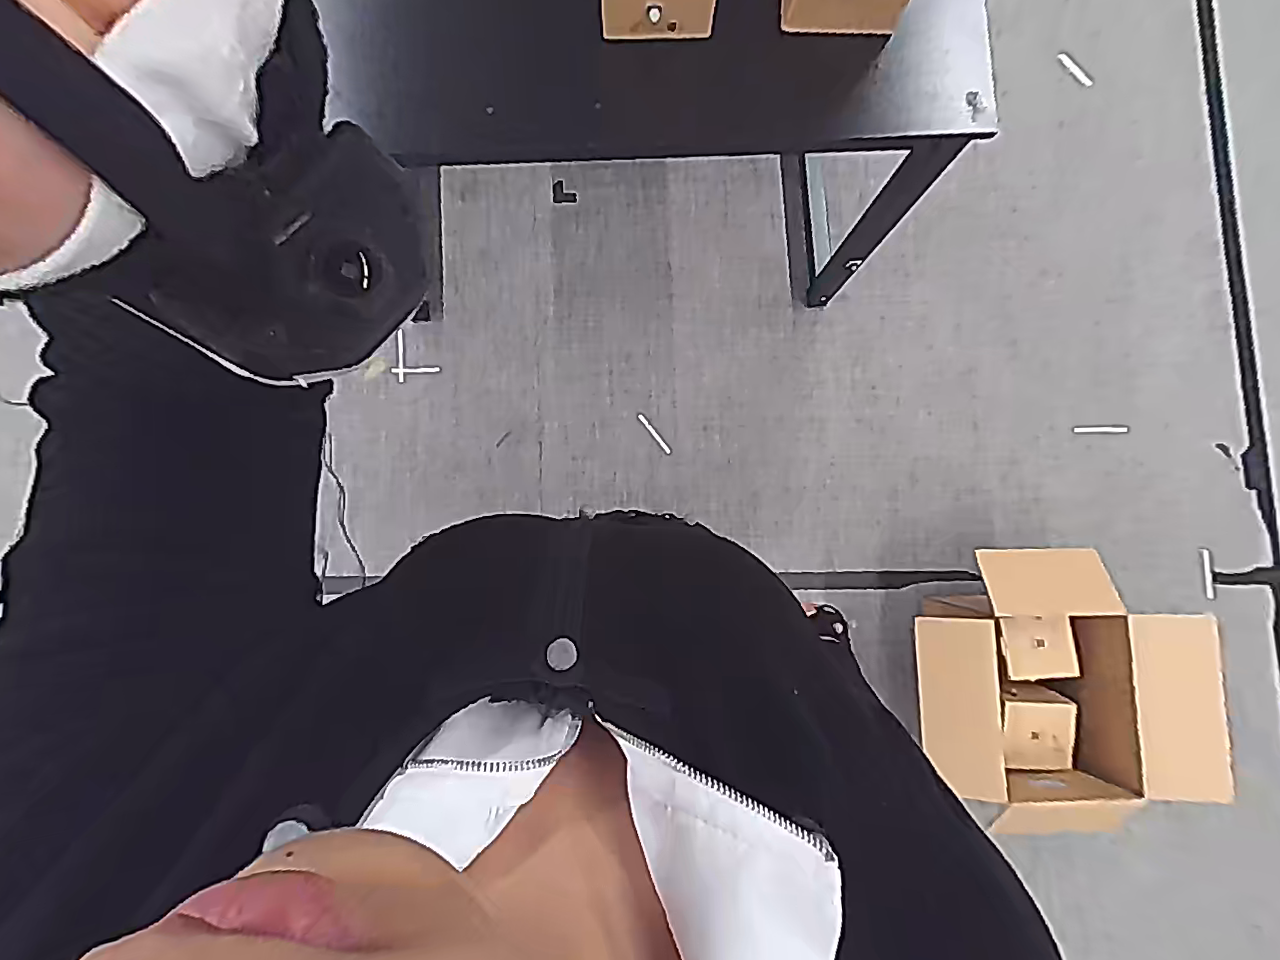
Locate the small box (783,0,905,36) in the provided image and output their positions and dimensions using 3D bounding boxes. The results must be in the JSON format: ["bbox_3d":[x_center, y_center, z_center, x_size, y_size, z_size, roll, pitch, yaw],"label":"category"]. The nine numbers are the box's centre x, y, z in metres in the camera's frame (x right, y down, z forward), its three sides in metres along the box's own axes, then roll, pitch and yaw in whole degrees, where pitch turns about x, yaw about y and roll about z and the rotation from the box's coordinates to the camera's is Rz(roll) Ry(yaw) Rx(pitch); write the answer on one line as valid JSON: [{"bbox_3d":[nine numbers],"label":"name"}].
[{"bbox_3d":[0.305,-0.775,0.764,0.179,0.176,0.168,1,86,0],"label":"small box"}]

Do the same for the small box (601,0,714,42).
[{"bbox_3d":[0.024,-0.770,0.760,0.168,0.176,0.179,-2,86,-1],"label":"small box"}]
